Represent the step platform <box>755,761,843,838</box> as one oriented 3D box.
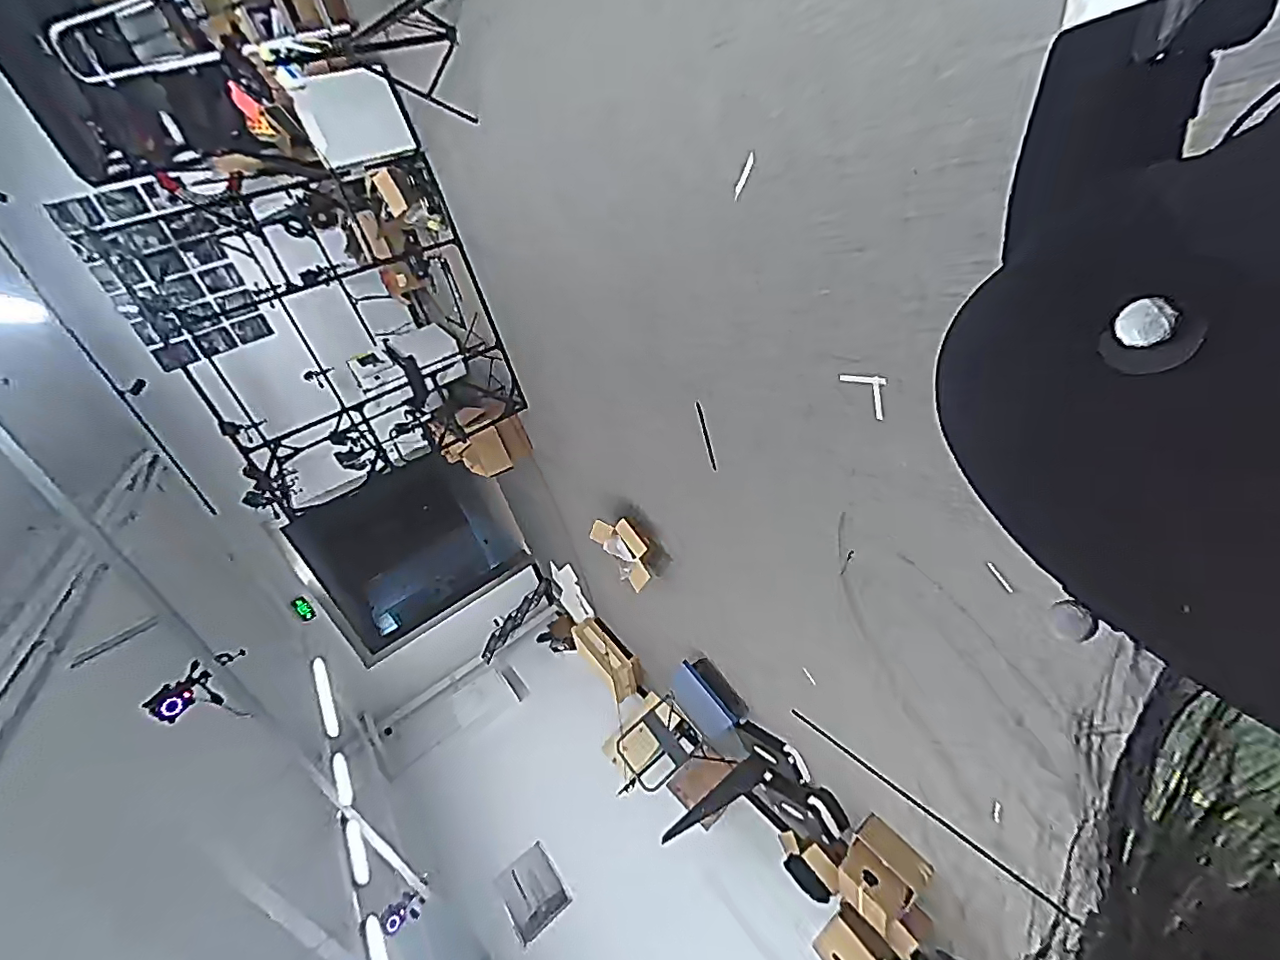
[{"bbox_3d":[1.137,2.322,3.942,0.286,0.204,0.684,59,155,-2],"label":"step platform"}]
